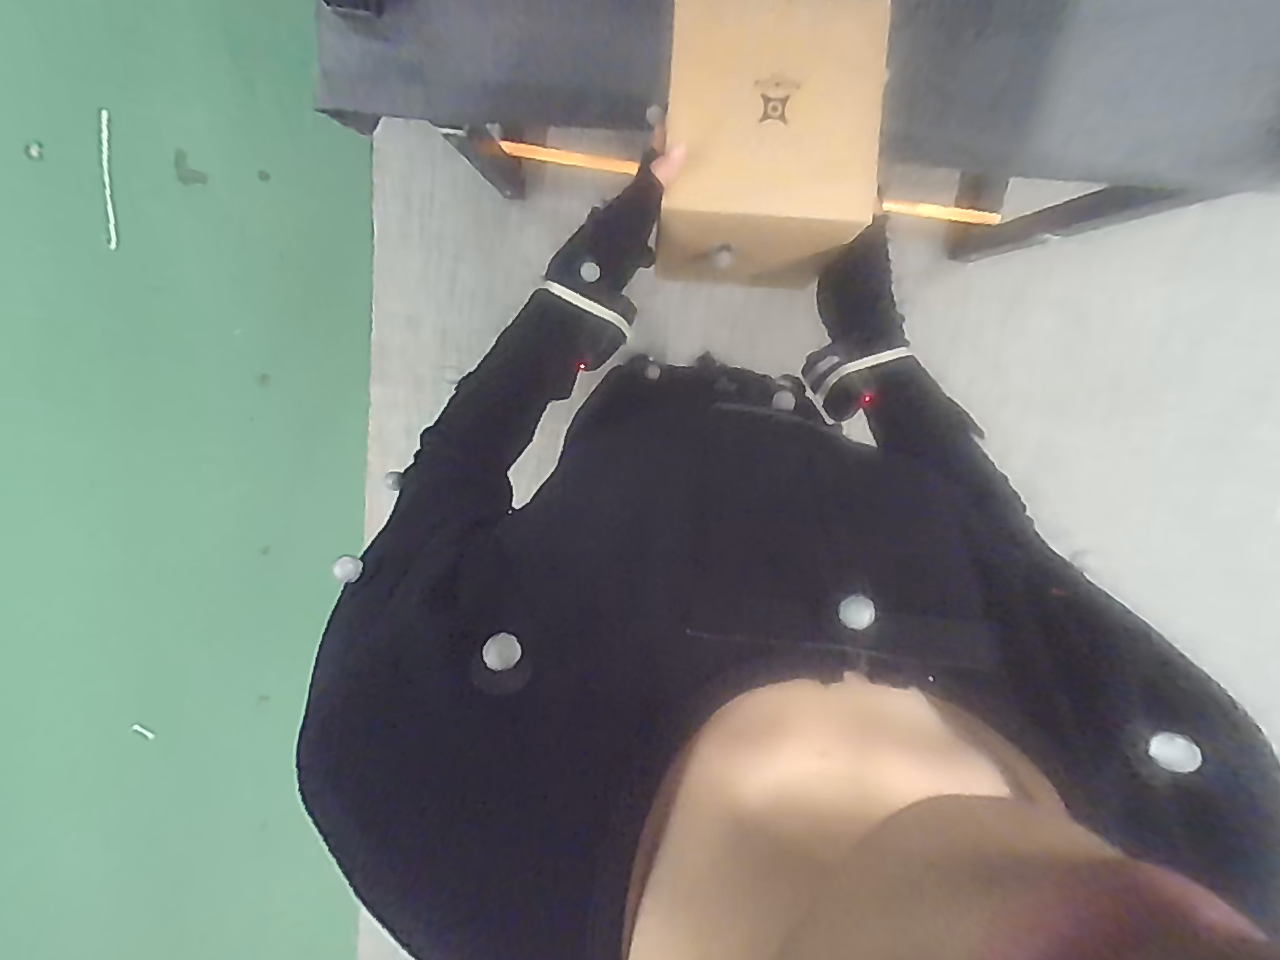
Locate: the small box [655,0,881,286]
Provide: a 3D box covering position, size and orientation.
[{"bbox_3d":[0.102,-0.296,0.504,0.168,0.176,0.179,4,90,0],"label":"small box"}]
